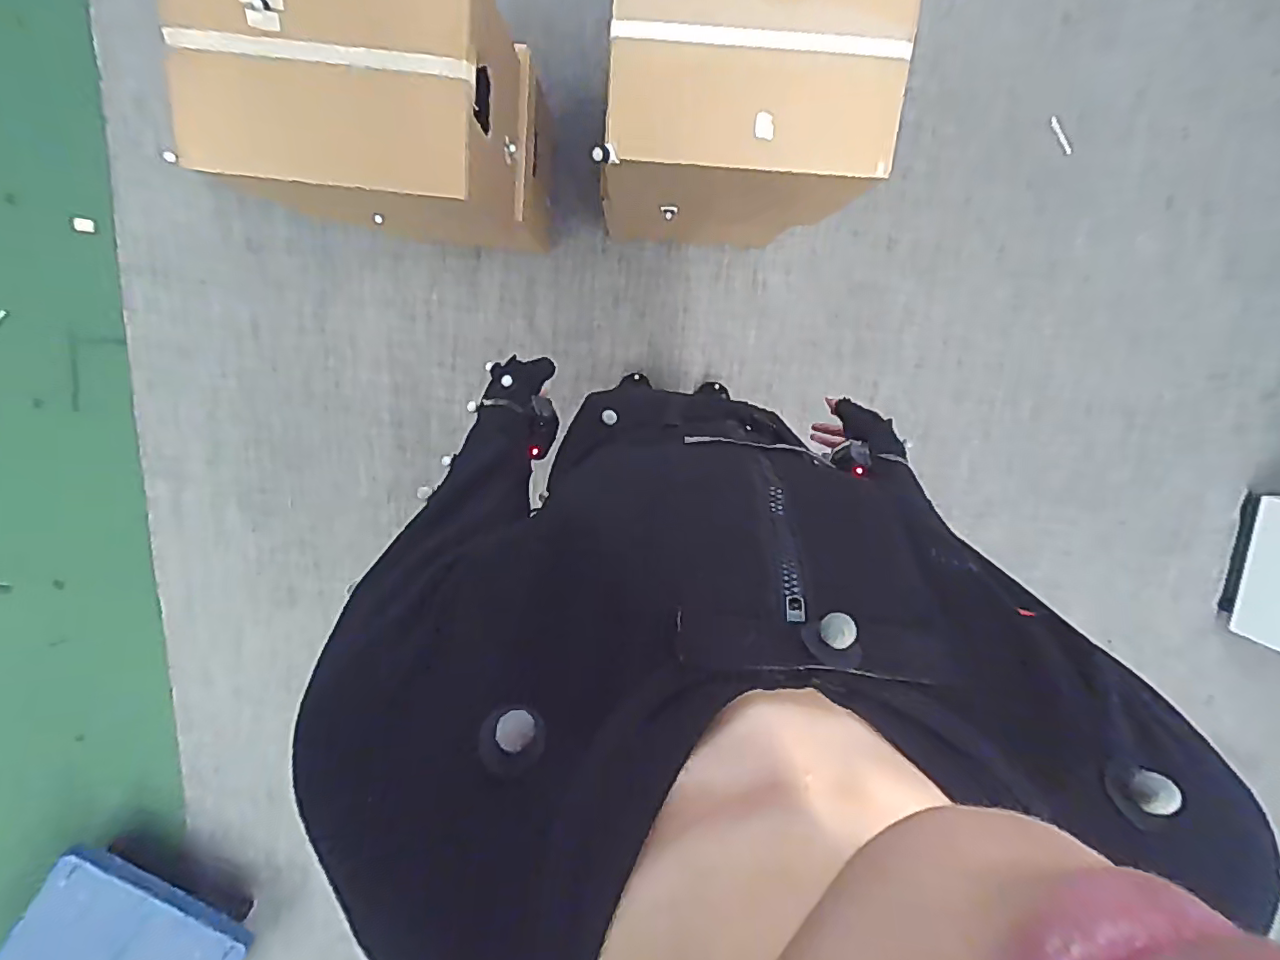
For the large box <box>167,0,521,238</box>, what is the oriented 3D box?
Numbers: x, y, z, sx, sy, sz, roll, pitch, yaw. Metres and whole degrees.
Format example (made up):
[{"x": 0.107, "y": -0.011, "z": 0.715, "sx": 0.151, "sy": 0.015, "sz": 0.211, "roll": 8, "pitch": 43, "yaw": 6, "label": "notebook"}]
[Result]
[{"x": -0.424, "y": -0.593, "z": 0.869, "sx": 0.408, "sy": 0.320, "sz": 0.320, "roll": 6, "pitch": 104, "yaw": 0, "label": "large box"}]
